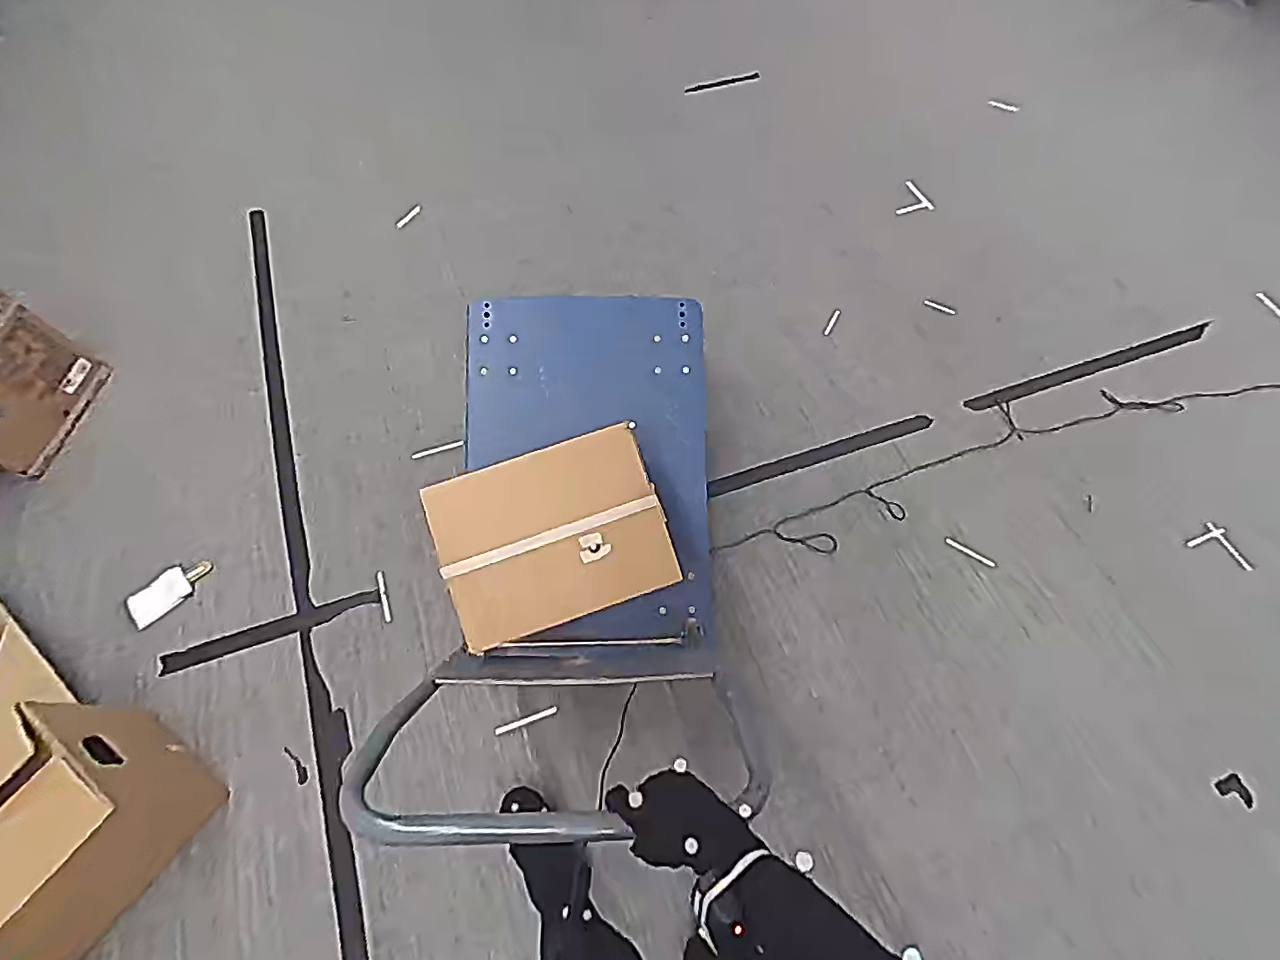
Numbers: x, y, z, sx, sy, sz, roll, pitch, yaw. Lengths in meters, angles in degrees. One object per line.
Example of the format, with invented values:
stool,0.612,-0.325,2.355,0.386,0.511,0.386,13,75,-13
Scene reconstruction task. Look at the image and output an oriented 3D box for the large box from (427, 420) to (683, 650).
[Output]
large box,-0.164,0.111,1.138,0.408,0.320,0.320,-20,87,-4
